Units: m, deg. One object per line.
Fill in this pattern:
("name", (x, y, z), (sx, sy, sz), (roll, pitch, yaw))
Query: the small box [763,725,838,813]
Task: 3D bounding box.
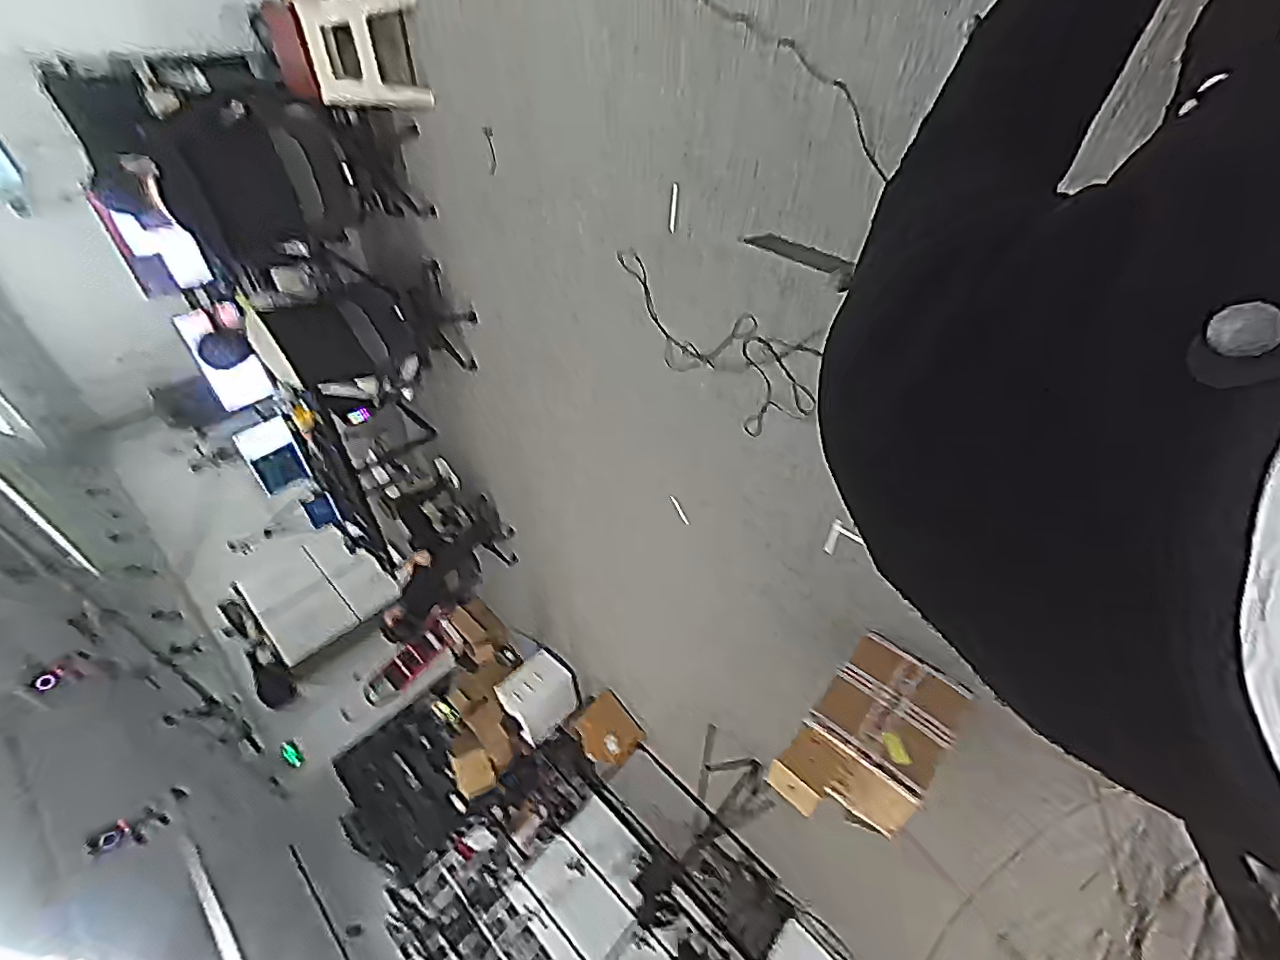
("small box", (0.547, 0.975, 1.838), (0.168, 0.176, 0.179), (34, 139, 32))
